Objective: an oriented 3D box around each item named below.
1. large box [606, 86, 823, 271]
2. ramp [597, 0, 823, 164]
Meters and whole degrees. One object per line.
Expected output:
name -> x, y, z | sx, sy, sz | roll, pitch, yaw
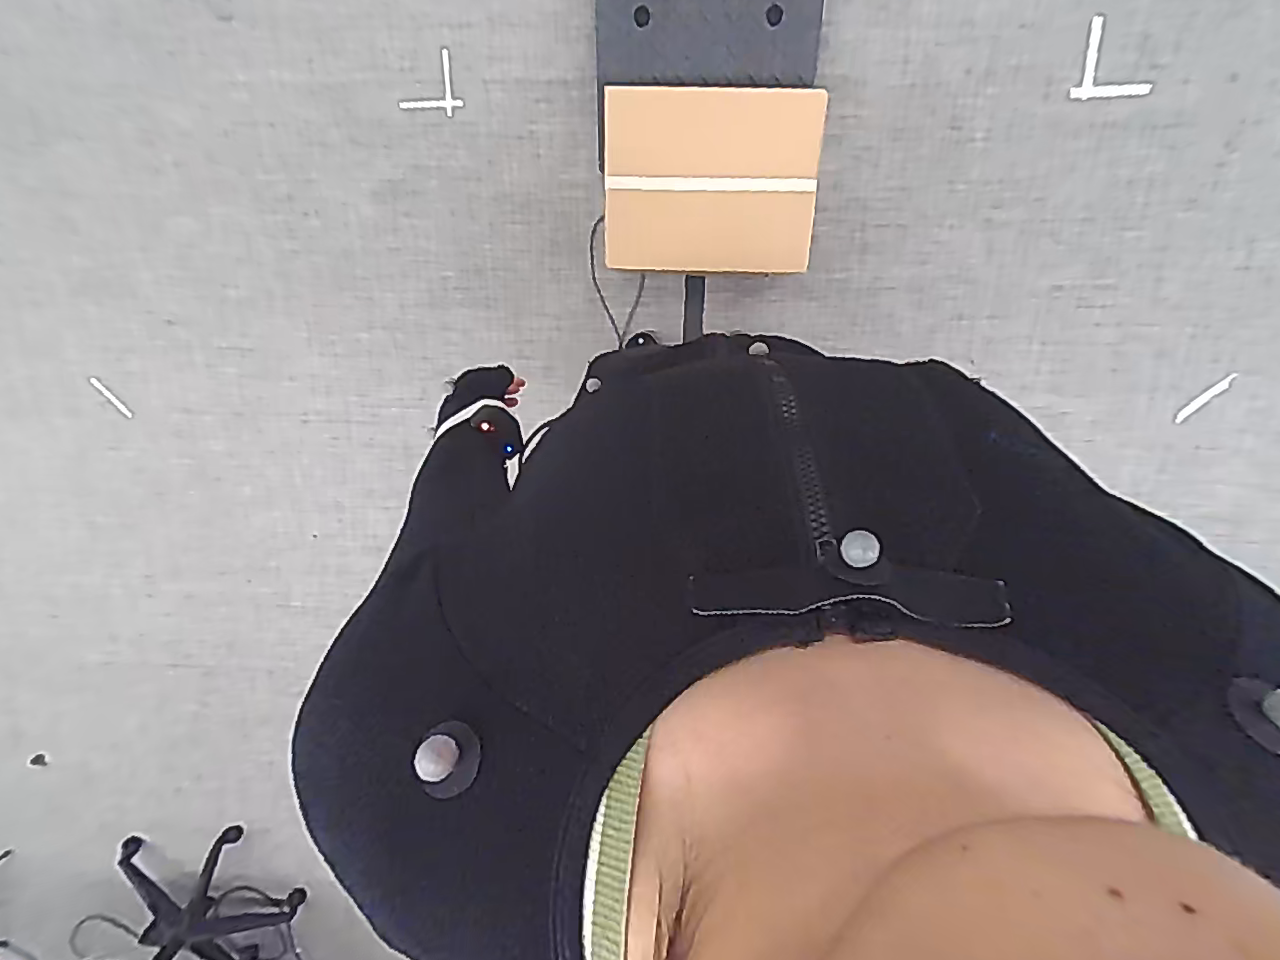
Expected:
large box -> 0.143, -0.624, 1.178 | 0.408, 0.320, 0.320 | 2, 109, 2
ramp -> 0.152, -1.206, 1.082 | 0.509, 0.206, 0.991 | -1, 106, 2
